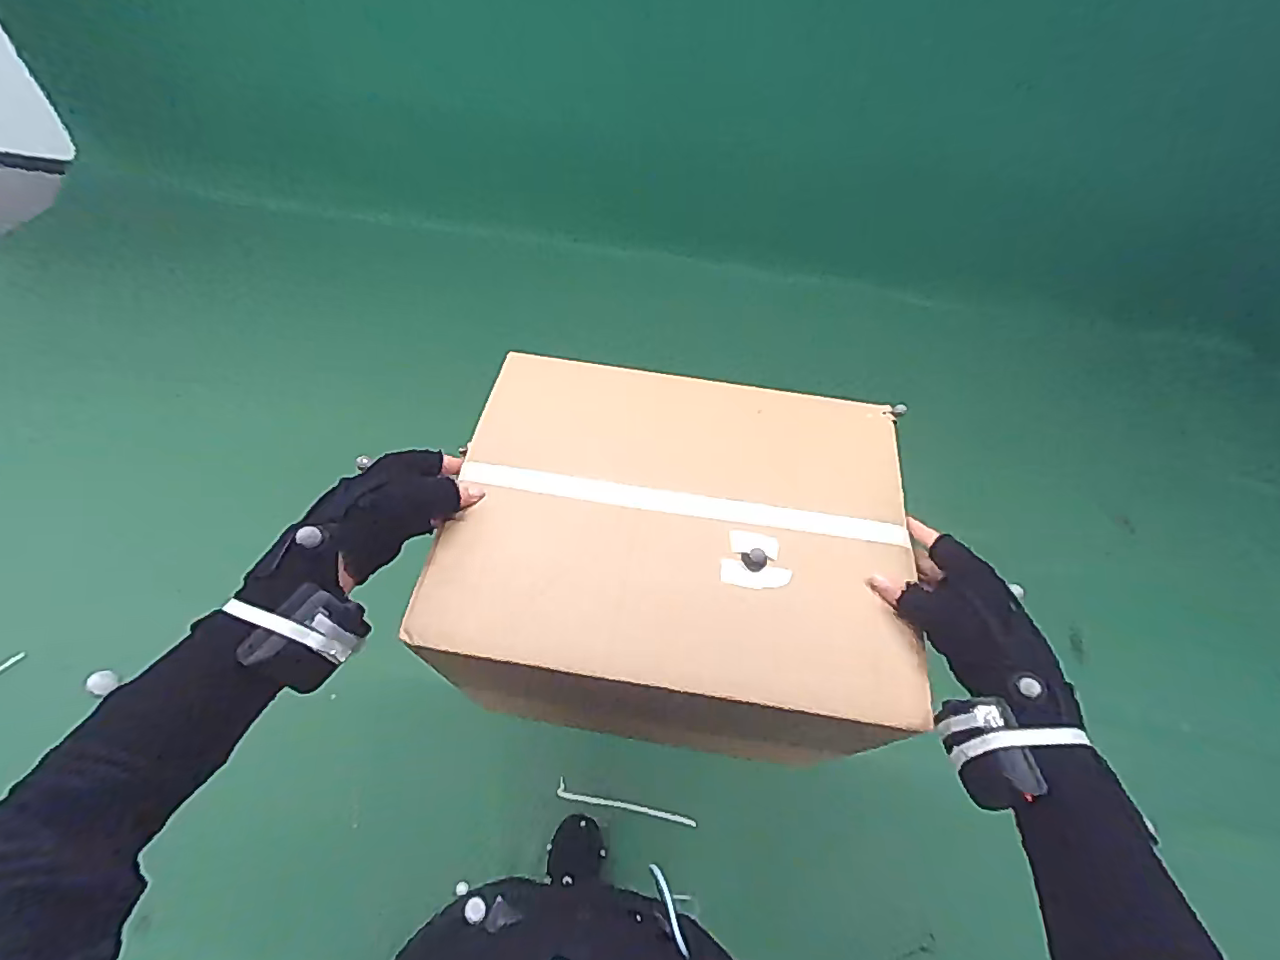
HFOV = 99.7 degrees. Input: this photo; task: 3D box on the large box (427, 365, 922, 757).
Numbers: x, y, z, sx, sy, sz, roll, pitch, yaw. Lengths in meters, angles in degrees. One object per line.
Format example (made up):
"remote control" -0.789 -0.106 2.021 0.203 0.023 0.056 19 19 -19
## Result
"large box" 0.034 0.108 0.627 0.408 0.320 0.320 9 58 2
